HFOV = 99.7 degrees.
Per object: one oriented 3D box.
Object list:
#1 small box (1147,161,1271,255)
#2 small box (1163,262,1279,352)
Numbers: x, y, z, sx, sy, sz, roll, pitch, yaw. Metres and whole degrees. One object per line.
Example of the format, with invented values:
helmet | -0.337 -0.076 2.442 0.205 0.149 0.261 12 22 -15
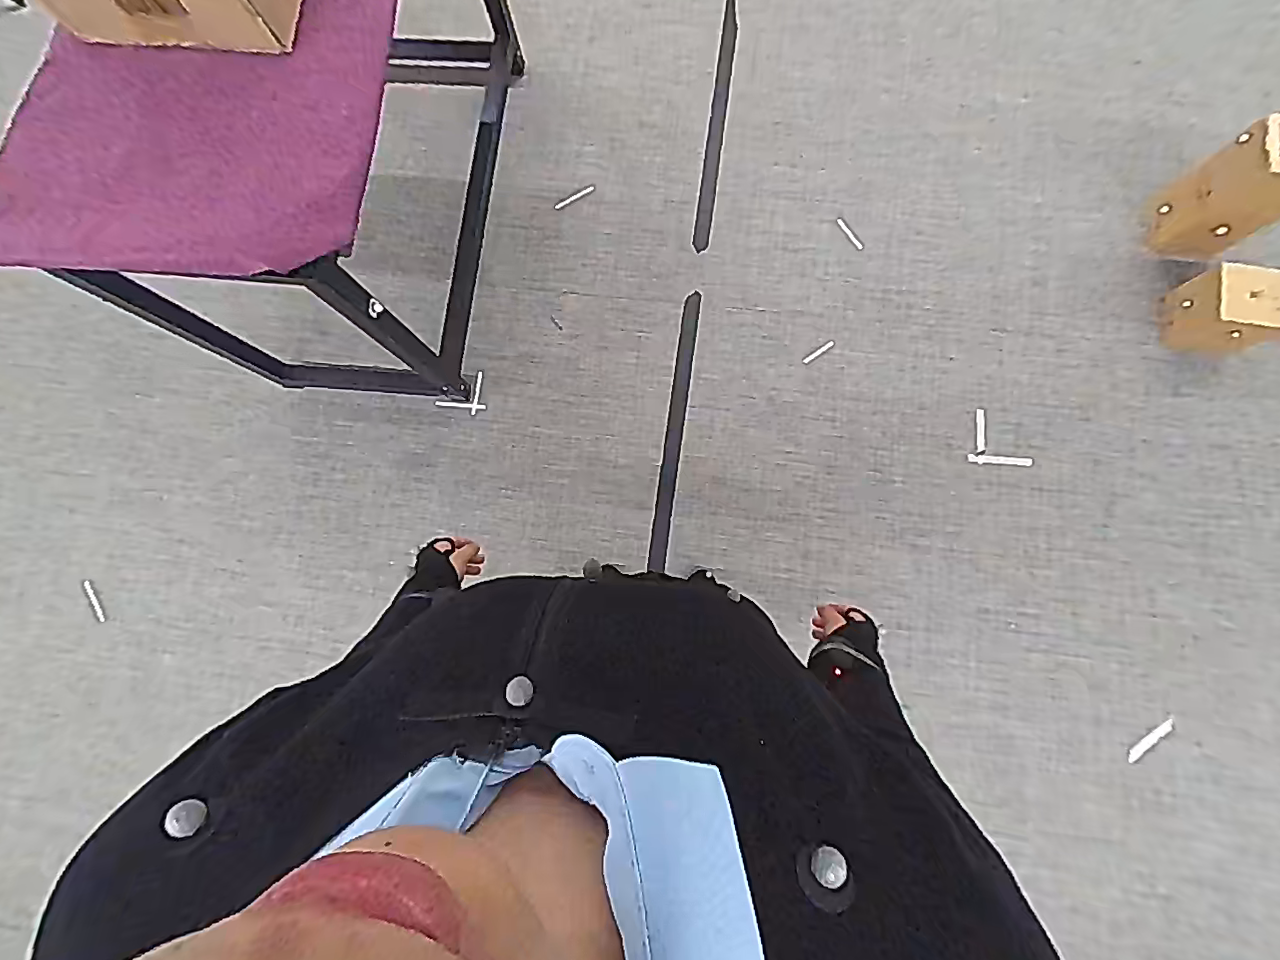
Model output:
small box | 1.601 -0.760 1.527 0.179 0.176 0.168 9 81 5
small box | 1.588 -0.465 1.473 0.179 0.176 0.168 10 82 4
